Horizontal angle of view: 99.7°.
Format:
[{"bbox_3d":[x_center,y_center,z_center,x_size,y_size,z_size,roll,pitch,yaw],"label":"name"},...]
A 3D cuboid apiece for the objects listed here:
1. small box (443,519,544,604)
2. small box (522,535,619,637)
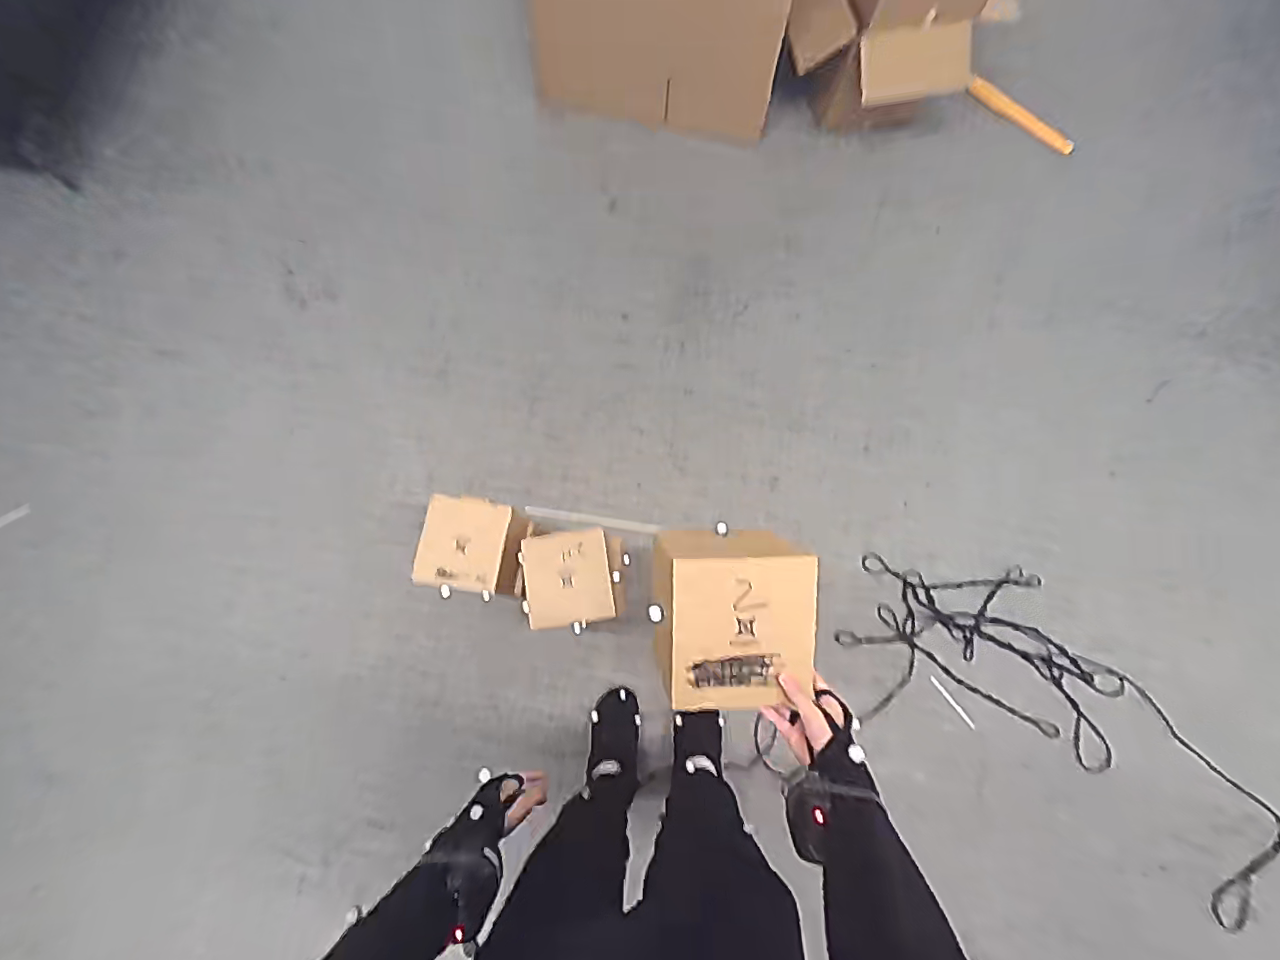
[{"bbox_3d":[-0.336,0.199,1.283,0.179,0.176,0.168,8,74,3],"label":"small box"},{"bbox_3d":[-0.137,0.220,1.109,0.168,0.176,0.179,-9,74,-2],"label":"small box"}]
